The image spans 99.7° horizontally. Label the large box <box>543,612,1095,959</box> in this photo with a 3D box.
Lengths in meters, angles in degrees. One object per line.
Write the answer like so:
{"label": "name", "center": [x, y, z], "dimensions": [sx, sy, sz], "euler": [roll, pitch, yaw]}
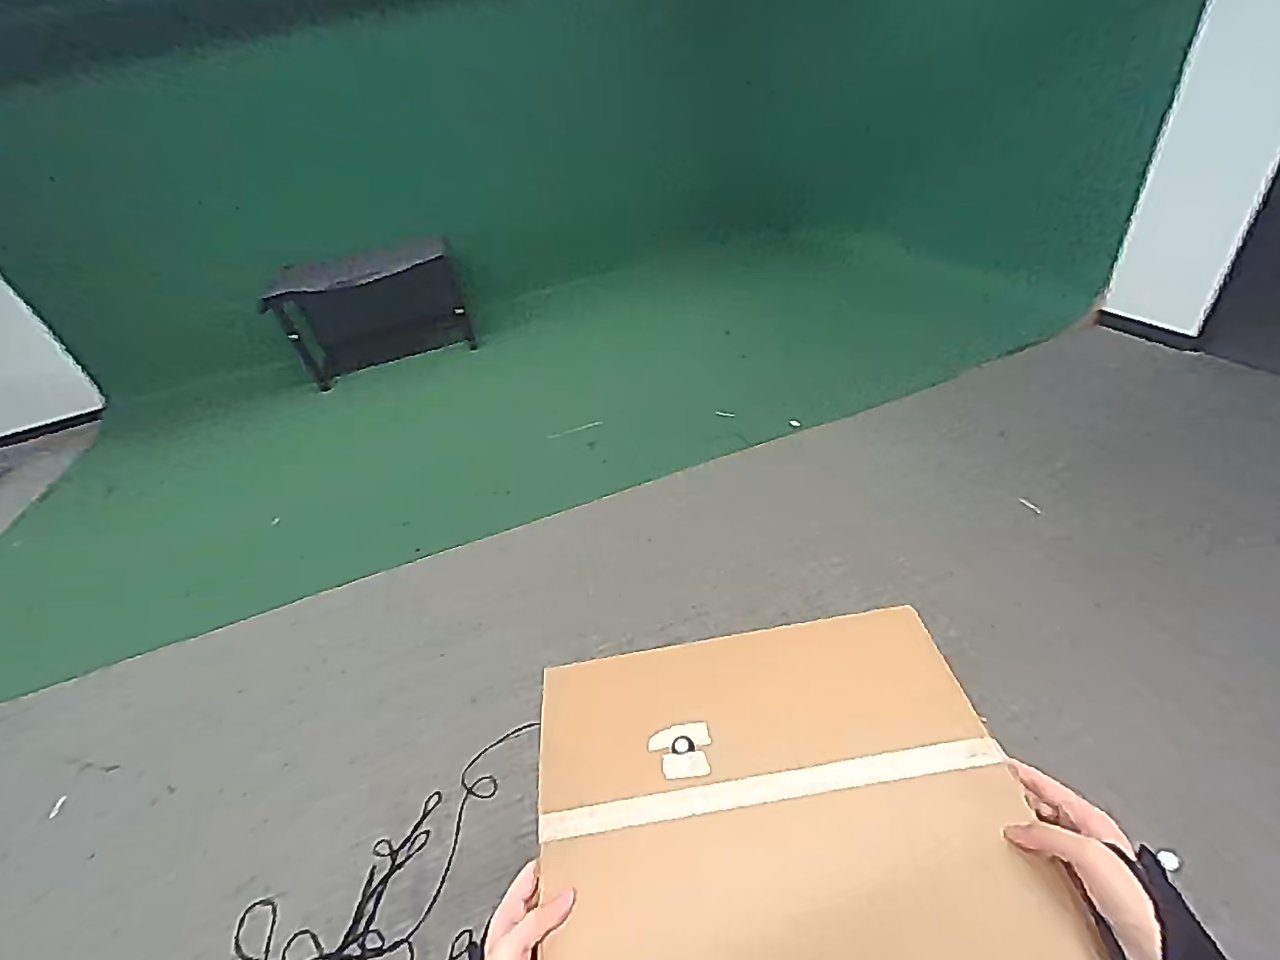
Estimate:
{"label": "large box", "center": [0.135, 0.392, 0.582], "dimensions": [0.408, 0.320, 0.320], "euler": [-12, 42, 2]}
